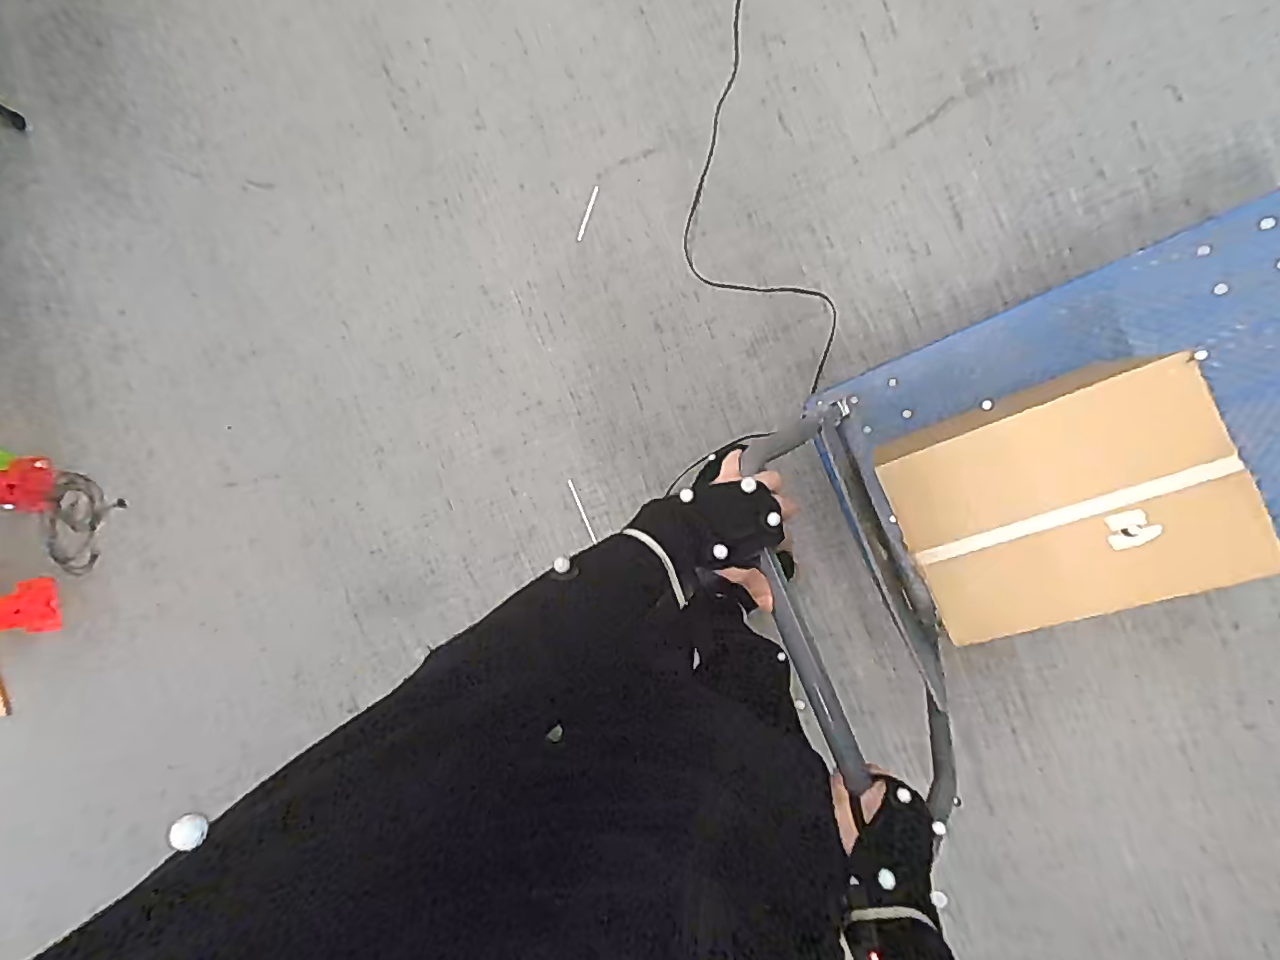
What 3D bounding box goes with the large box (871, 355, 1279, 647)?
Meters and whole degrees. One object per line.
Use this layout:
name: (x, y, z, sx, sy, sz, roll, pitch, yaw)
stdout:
large box: (0.653, 0.032, 0.914, 0.408, 0.320, 0.320, -24, 89, 23)
